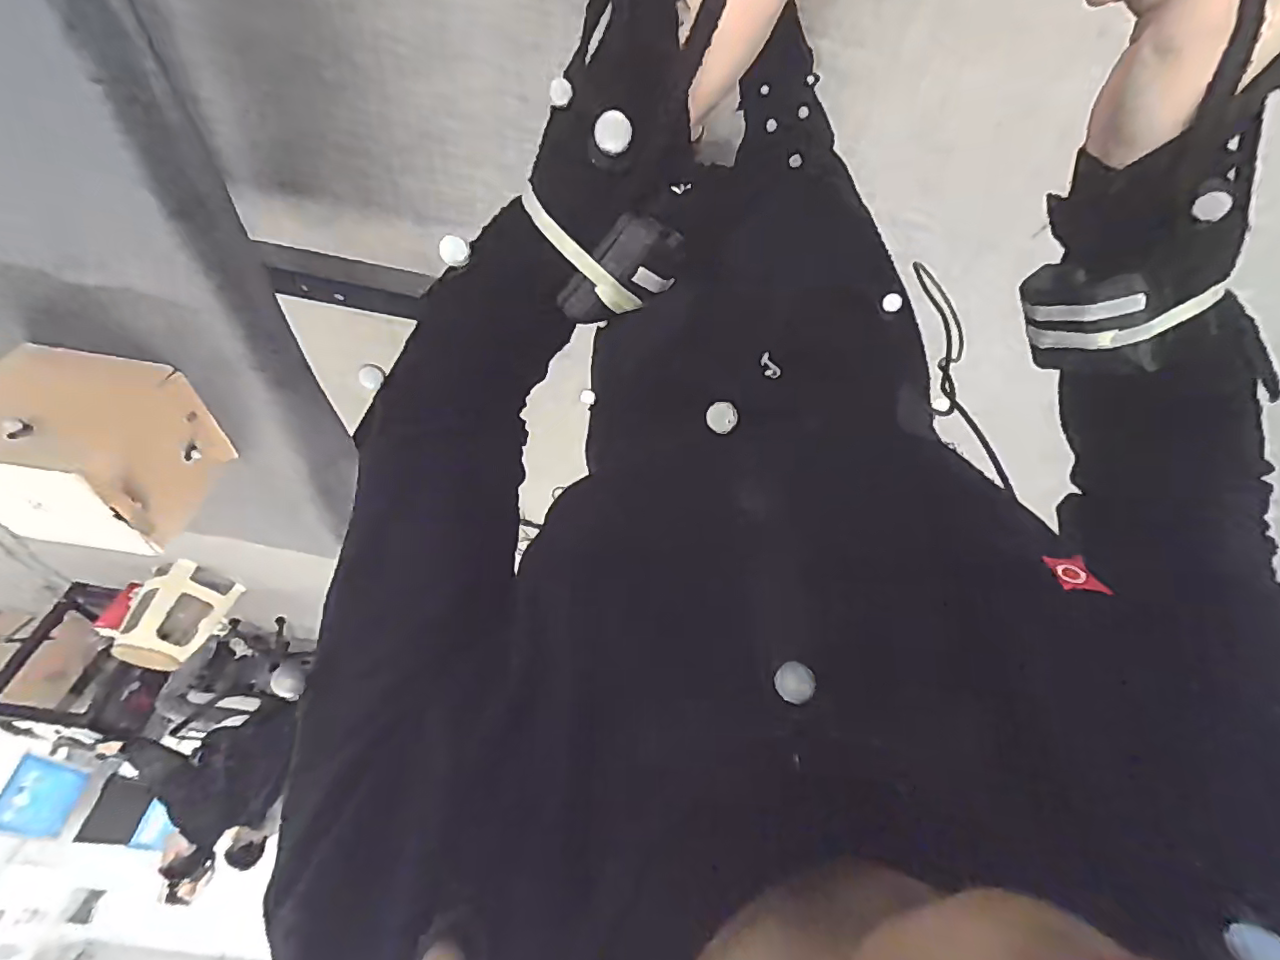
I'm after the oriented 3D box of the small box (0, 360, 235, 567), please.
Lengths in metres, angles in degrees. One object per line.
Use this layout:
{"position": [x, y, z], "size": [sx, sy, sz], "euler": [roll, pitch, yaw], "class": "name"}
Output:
{"position": [-0.642, -0.021, 0.638], "size": [0.179, 0.176, 0.168], "euler": [8, 141, -2], "class": "small box"}
